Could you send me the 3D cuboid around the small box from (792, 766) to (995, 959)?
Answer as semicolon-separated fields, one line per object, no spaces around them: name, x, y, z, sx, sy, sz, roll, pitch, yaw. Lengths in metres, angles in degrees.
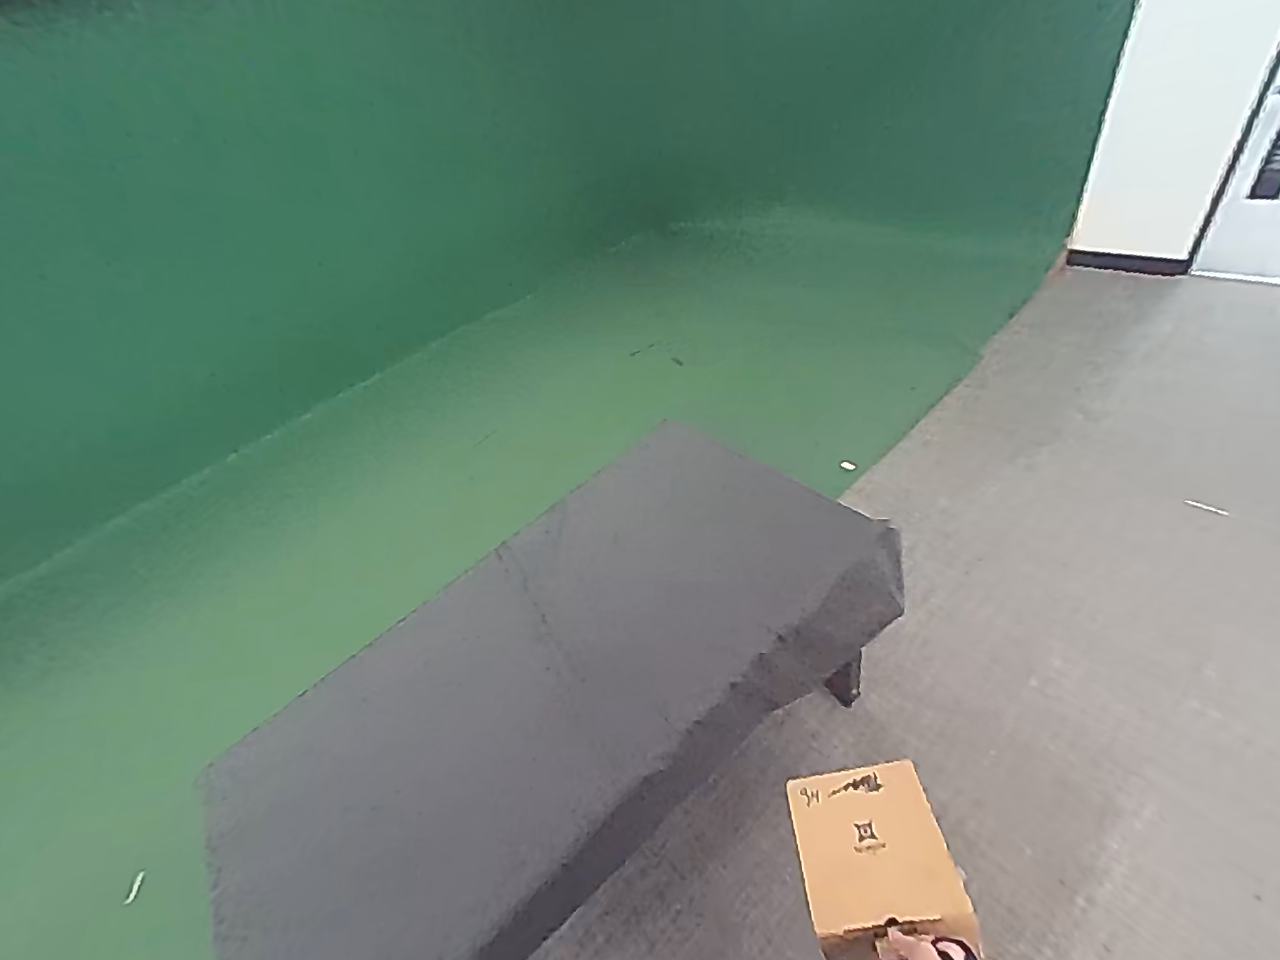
small box;0.309;0.504;0.672;0.168;0.176;0.179;-21;21;11
